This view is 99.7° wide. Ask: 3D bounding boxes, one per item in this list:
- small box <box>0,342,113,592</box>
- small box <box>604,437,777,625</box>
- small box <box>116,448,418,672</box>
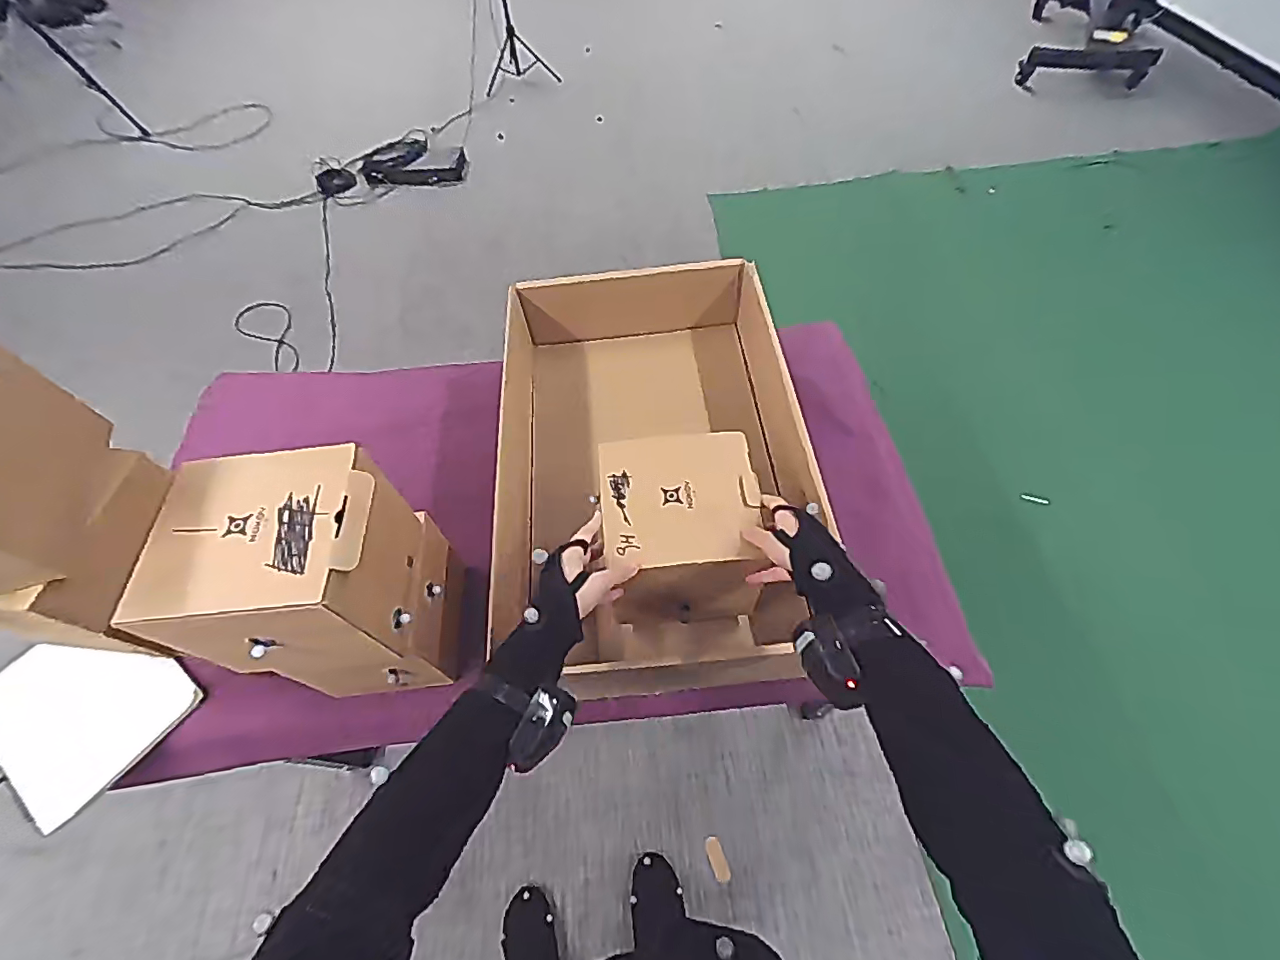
[{"bbox_3d":[-0.593,-0.012,0.435,0.168,0.176,0.179,-15,59,-5],"label":"small box"},{"bbox_3d":[0.049,0.066,0.653,0.179,0.176,0.168,-4,55,-1],"label":"small box"},{"bbox_3d":[-0.348,0.087,0.554,0.179,0.176,0.168,-6,56,-2],"label":"small box"}]
